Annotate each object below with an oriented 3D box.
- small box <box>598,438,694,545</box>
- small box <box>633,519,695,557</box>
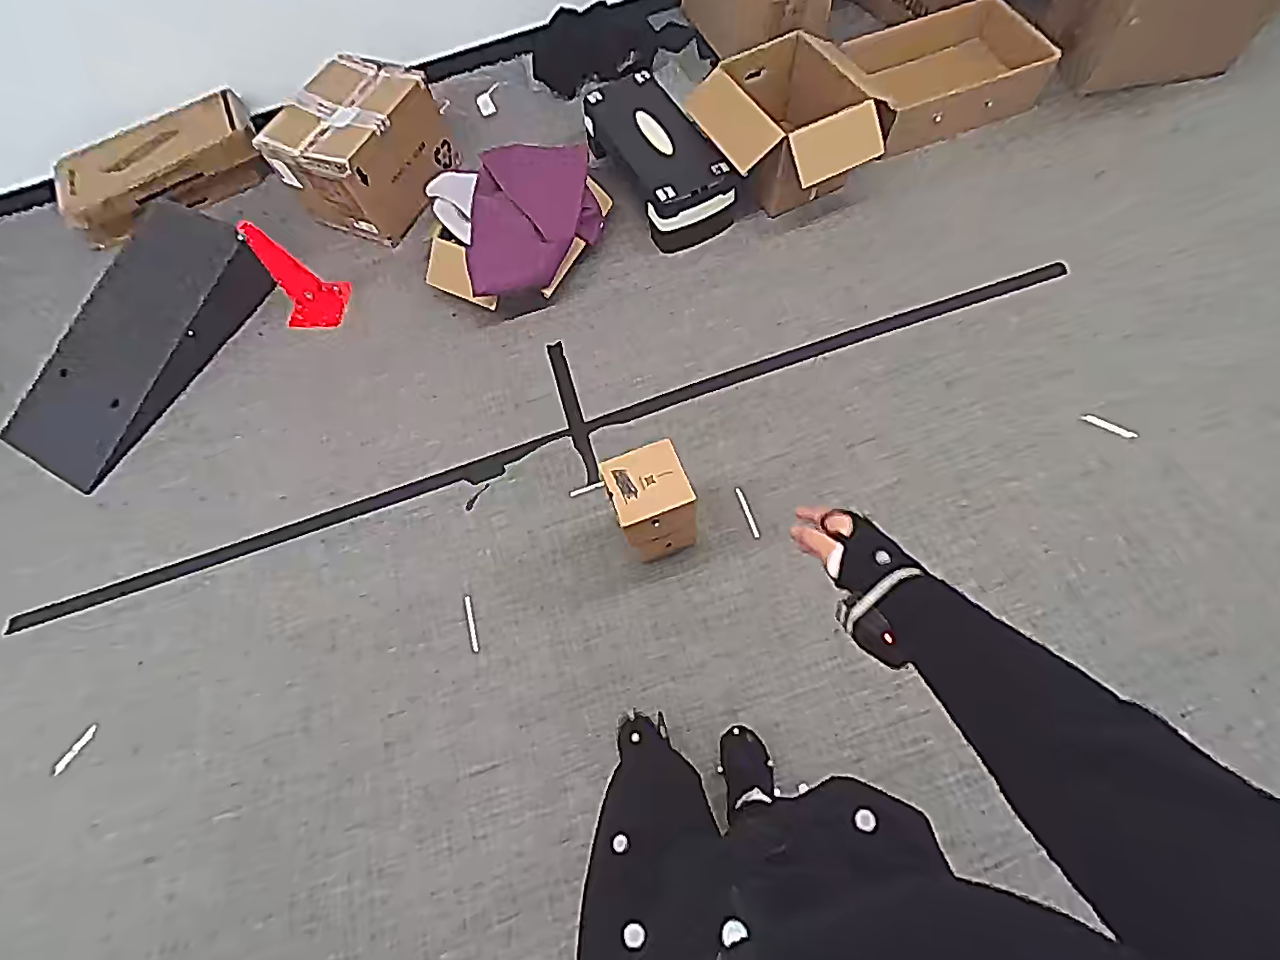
[{"bbox_3d":[0.019,0.033,1.261,0.179,0.176,0.168,-20,67,-3],"label":"small box"},{"bbox_3d":[0.040,0.091,1.415,0.168,0.176,0.179,-21,68,-3],"label":"small box"}]
